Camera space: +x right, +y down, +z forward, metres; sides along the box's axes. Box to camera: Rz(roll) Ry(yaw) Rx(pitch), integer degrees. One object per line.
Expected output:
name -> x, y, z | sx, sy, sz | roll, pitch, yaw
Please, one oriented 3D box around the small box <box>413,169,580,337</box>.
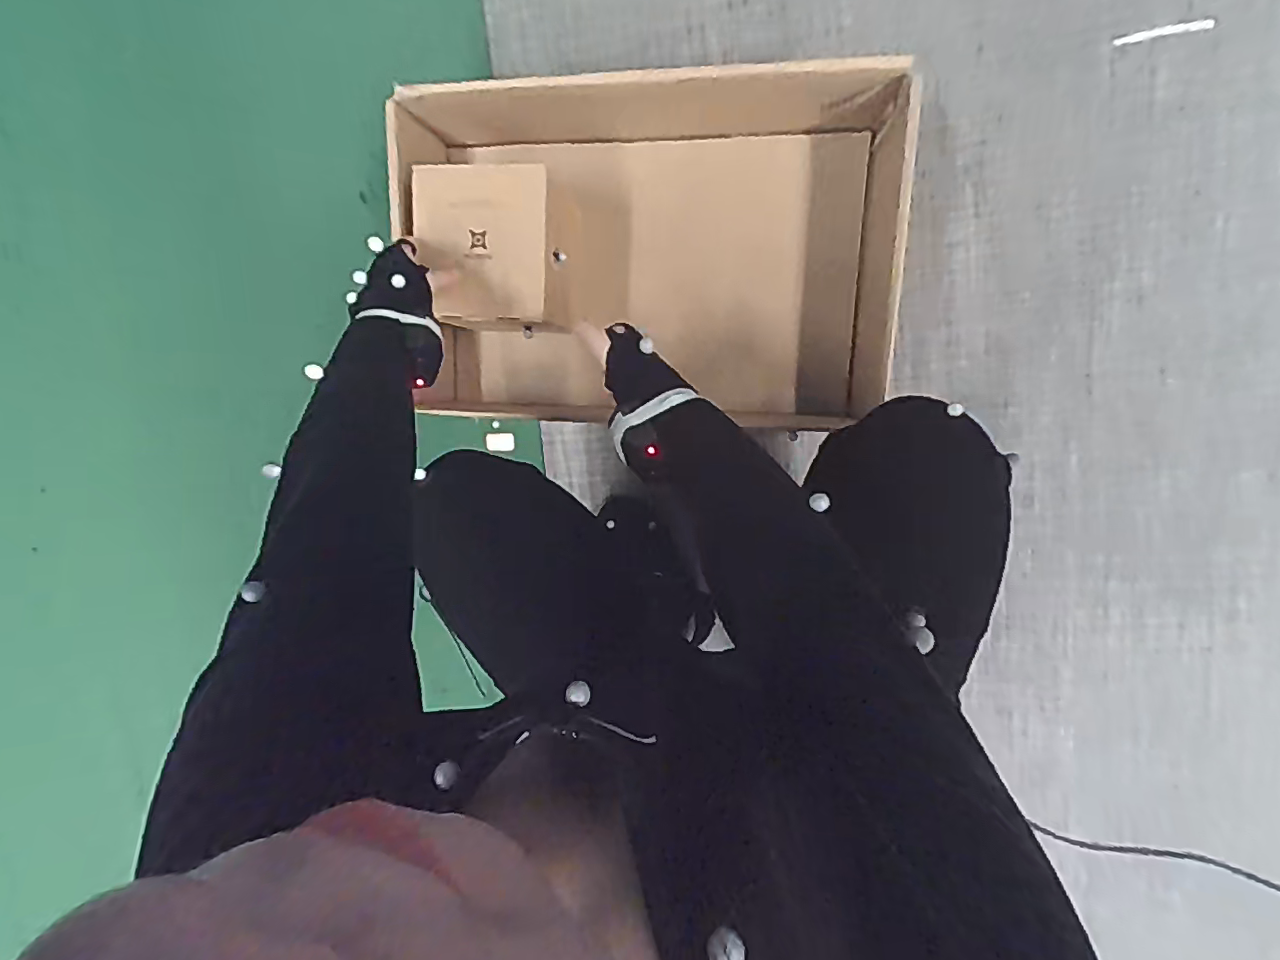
small box -> -0.180, -0.287, 0.718 | 0.168, 0.176, 0.179 | 5, 100, 6
